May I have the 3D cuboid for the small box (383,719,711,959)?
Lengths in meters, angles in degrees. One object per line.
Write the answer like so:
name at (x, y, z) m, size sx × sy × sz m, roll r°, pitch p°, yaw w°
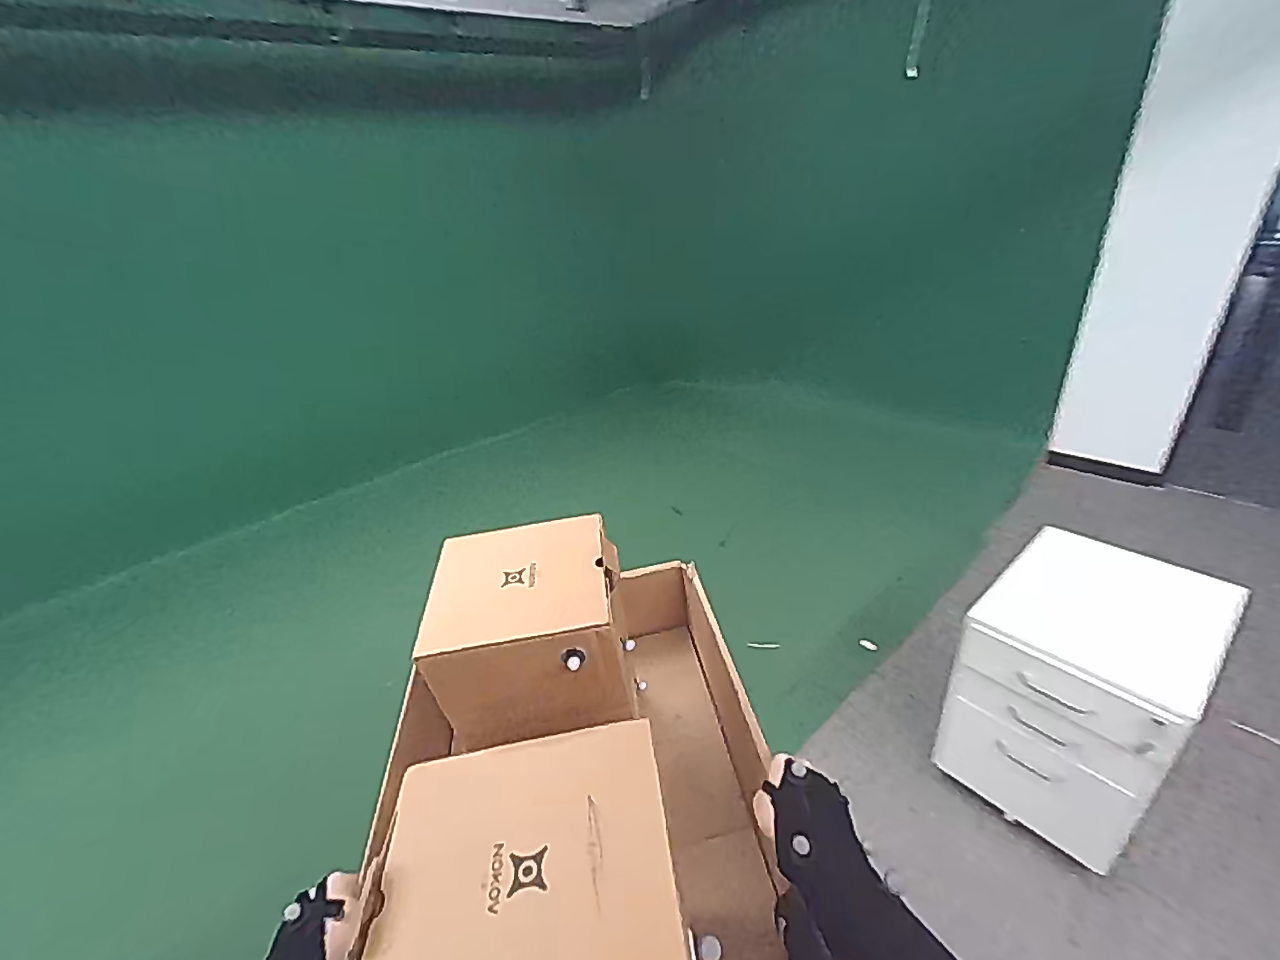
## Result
small box at (-0.046, 0.296, 0.360) m, size 0.179 × 0.176 × 0.168 m, roll -10°, pitch 32°, yaw -2°
